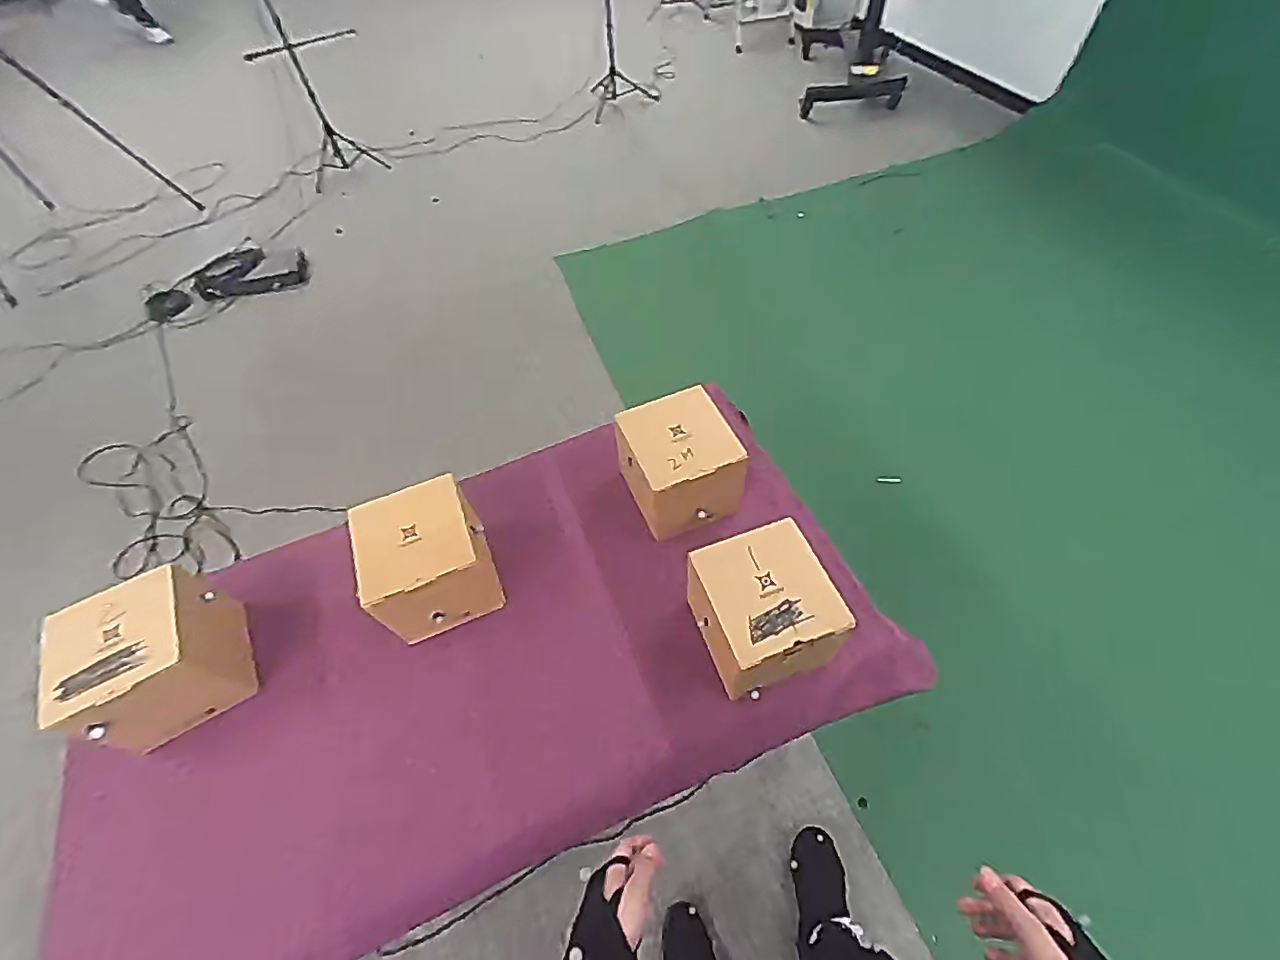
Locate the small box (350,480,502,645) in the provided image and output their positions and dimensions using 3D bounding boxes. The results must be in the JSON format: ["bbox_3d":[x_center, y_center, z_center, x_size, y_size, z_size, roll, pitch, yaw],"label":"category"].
[{"bbox_3d":[-0.336,0.135,0.867,0.168,0.176,0.179,-21,58,-12],"label":"small box"}]

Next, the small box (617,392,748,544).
[{"bbox_3d":[0.069,-0.017,0.948,0.168,0.176,0.179,-20,57,-10],"label":"small box"}]

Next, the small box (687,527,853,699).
[{"bbox_3d":[0.177,0.202,0.790,0.168,0.176,0.179,-18,54,-8],"label":"small box"}]
